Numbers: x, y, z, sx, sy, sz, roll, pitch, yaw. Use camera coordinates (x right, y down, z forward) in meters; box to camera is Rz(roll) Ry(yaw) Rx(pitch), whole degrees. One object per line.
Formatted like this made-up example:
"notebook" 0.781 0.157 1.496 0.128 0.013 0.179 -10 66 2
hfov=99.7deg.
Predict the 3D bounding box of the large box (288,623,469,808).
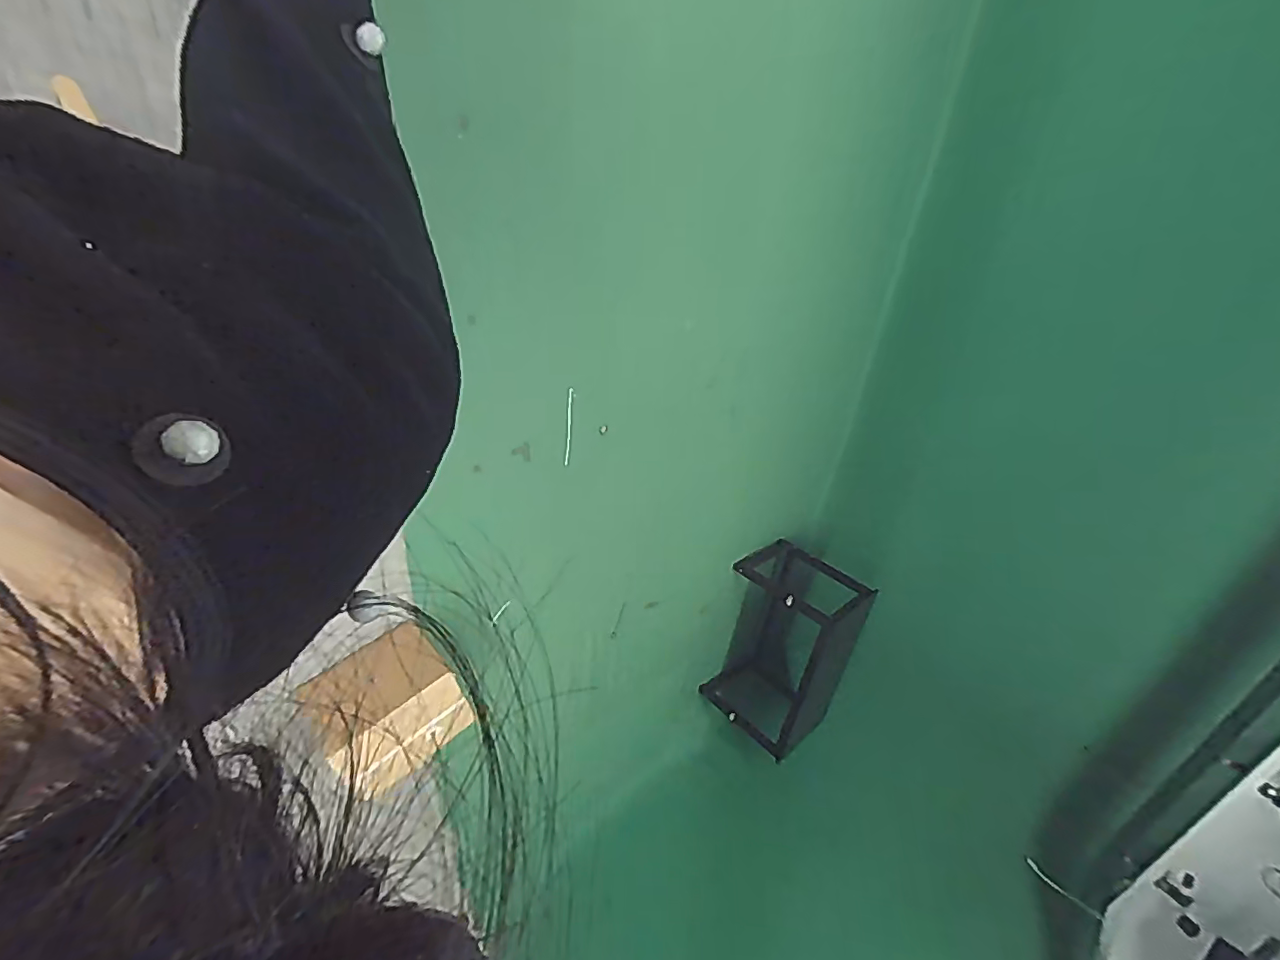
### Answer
"large box" -0.859 0.770 1.806 0.408 0.320 0.320 -33 136 -31
